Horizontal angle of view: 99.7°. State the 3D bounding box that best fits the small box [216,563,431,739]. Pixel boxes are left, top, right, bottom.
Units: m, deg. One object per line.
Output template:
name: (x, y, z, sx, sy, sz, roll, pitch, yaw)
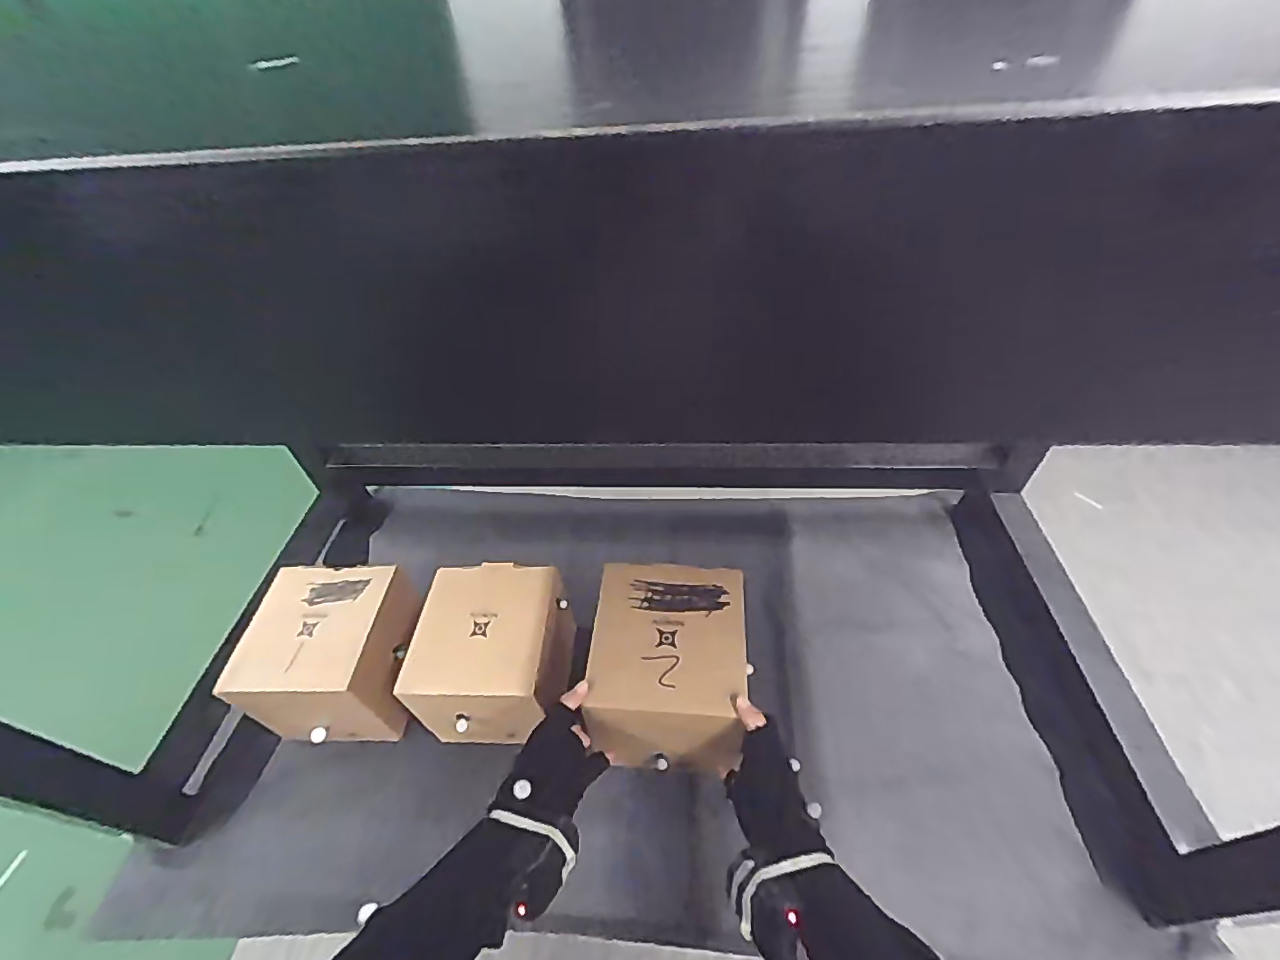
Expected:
small box: (-0.409, 0.232, 0.741, 0.168, 0.176, 0.179, -2, 46, 4)
